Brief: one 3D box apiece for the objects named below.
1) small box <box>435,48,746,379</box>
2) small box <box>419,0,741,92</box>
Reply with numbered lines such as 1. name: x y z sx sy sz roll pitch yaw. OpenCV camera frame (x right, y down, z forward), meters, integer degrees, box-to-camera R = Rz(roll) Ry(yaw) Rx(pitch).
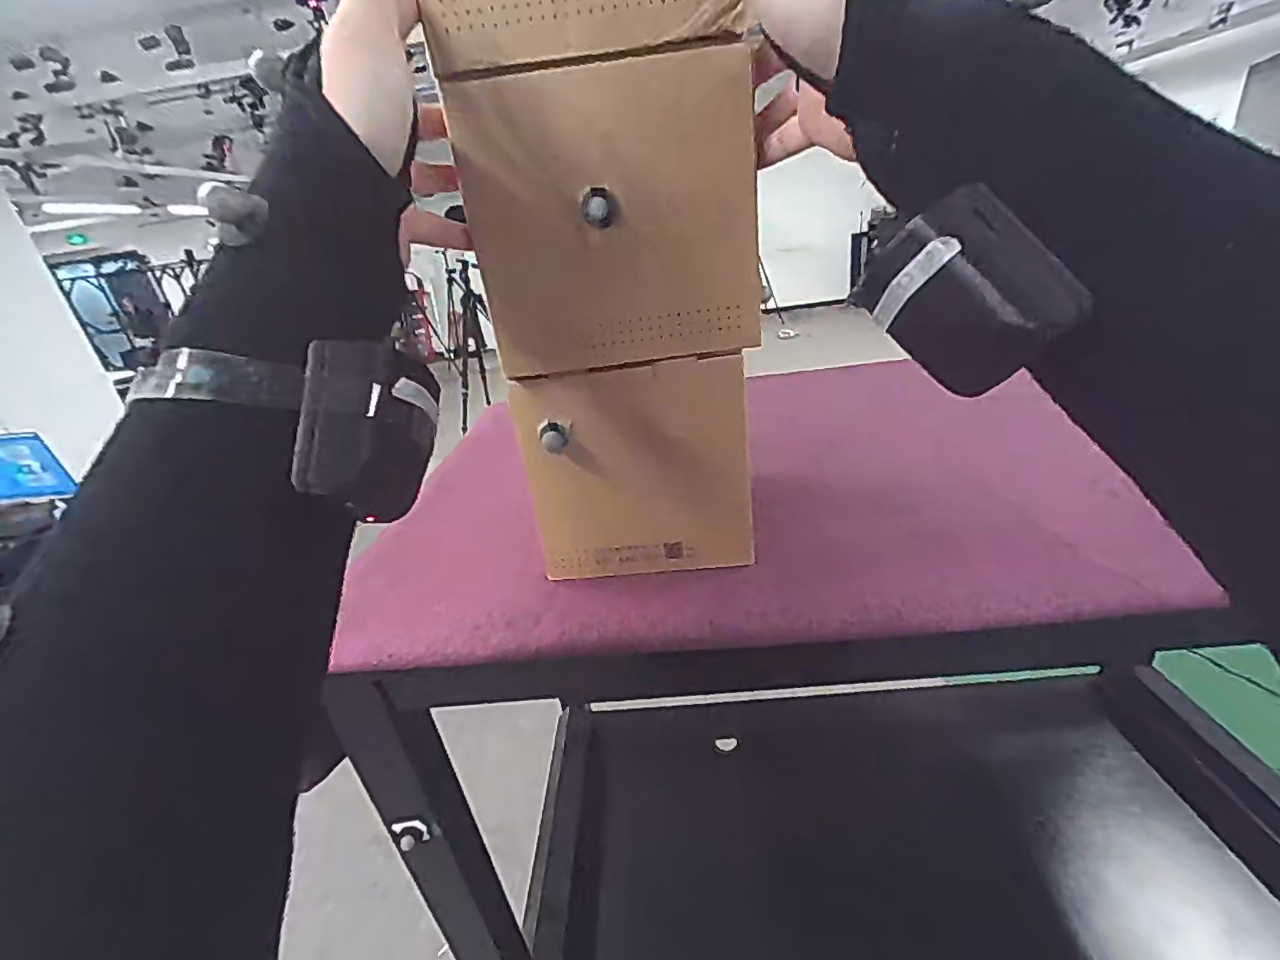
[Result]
1. small box: -0.021 -0.184 0.404 0.179 0.176 0.168 -8 24 2
2. small box: -0.041 -0.333 0.337 0.179 0.176 0.168 -7 24 2
